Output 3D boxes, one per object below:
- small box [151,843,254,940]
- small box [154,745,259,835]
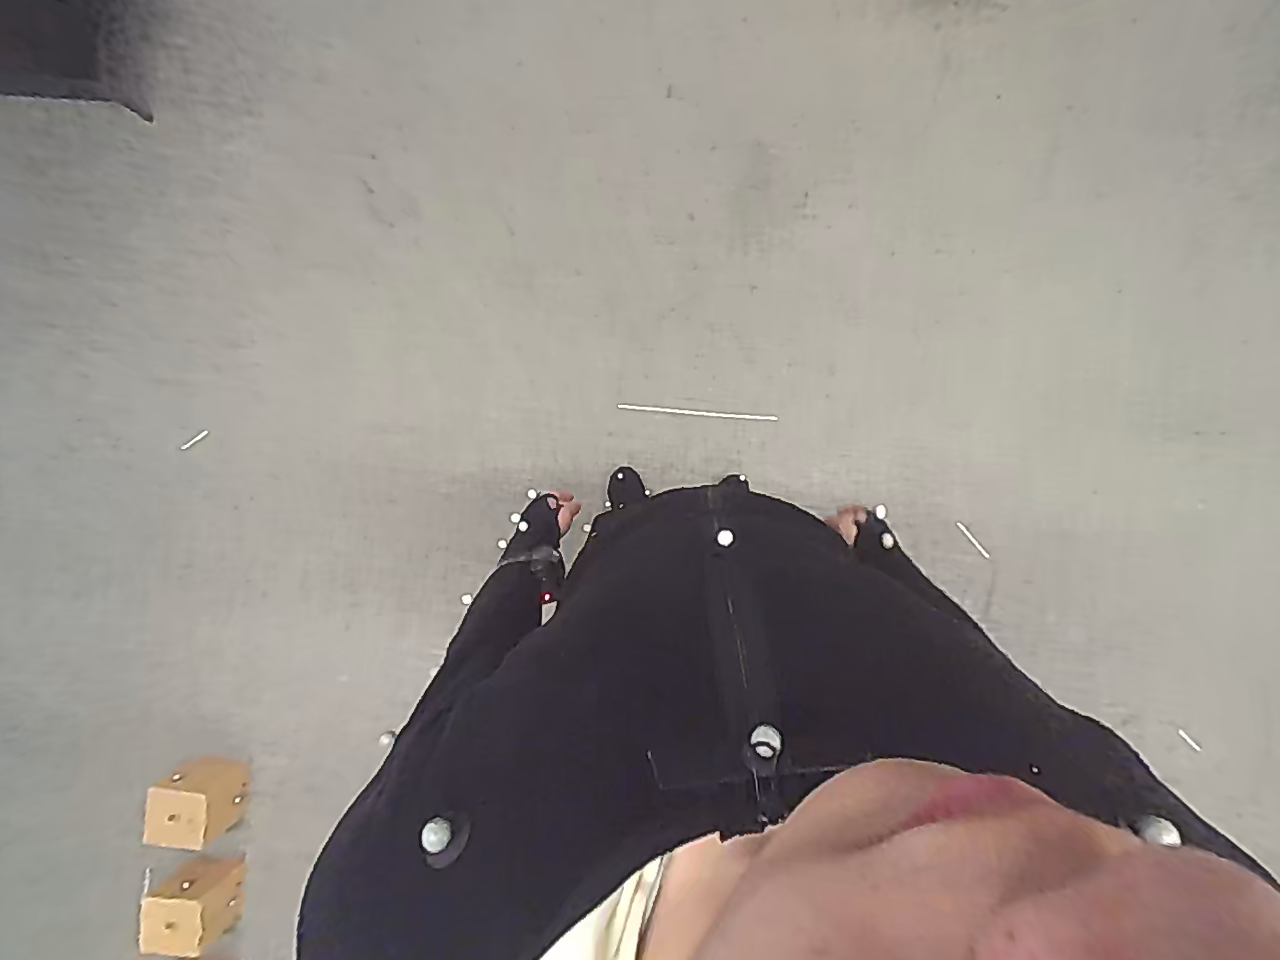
[{"bbox_3d":[-1.331,1.245,1.650,0.179,0.176,0.168,4,91,1],"label":"small box"},{"bbox_3d":[-1.308,0.932,1.641,0.179,0.176,0.168,7,92,2],"label":"small box"}]
